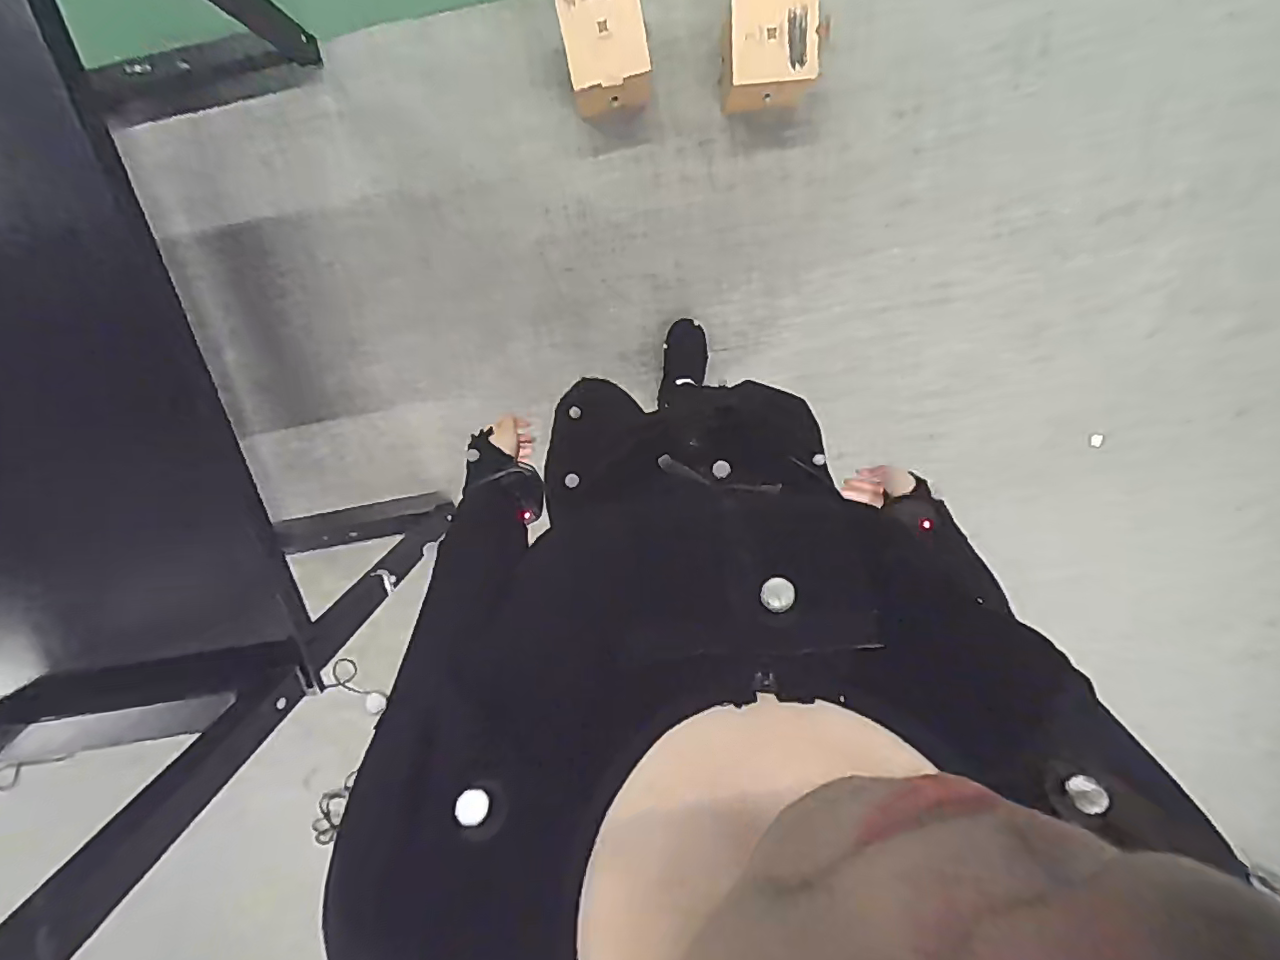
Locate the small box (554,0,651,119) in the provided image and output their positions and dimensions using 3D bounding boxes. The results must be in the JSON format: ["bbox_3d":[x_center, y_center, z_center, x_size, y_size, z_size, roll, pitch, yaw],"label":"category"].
[{"bbox_3d":[-0.070,-0.895,1.144,0.168,0.176,0.179,-11,107,4],"label":"small box"}]
